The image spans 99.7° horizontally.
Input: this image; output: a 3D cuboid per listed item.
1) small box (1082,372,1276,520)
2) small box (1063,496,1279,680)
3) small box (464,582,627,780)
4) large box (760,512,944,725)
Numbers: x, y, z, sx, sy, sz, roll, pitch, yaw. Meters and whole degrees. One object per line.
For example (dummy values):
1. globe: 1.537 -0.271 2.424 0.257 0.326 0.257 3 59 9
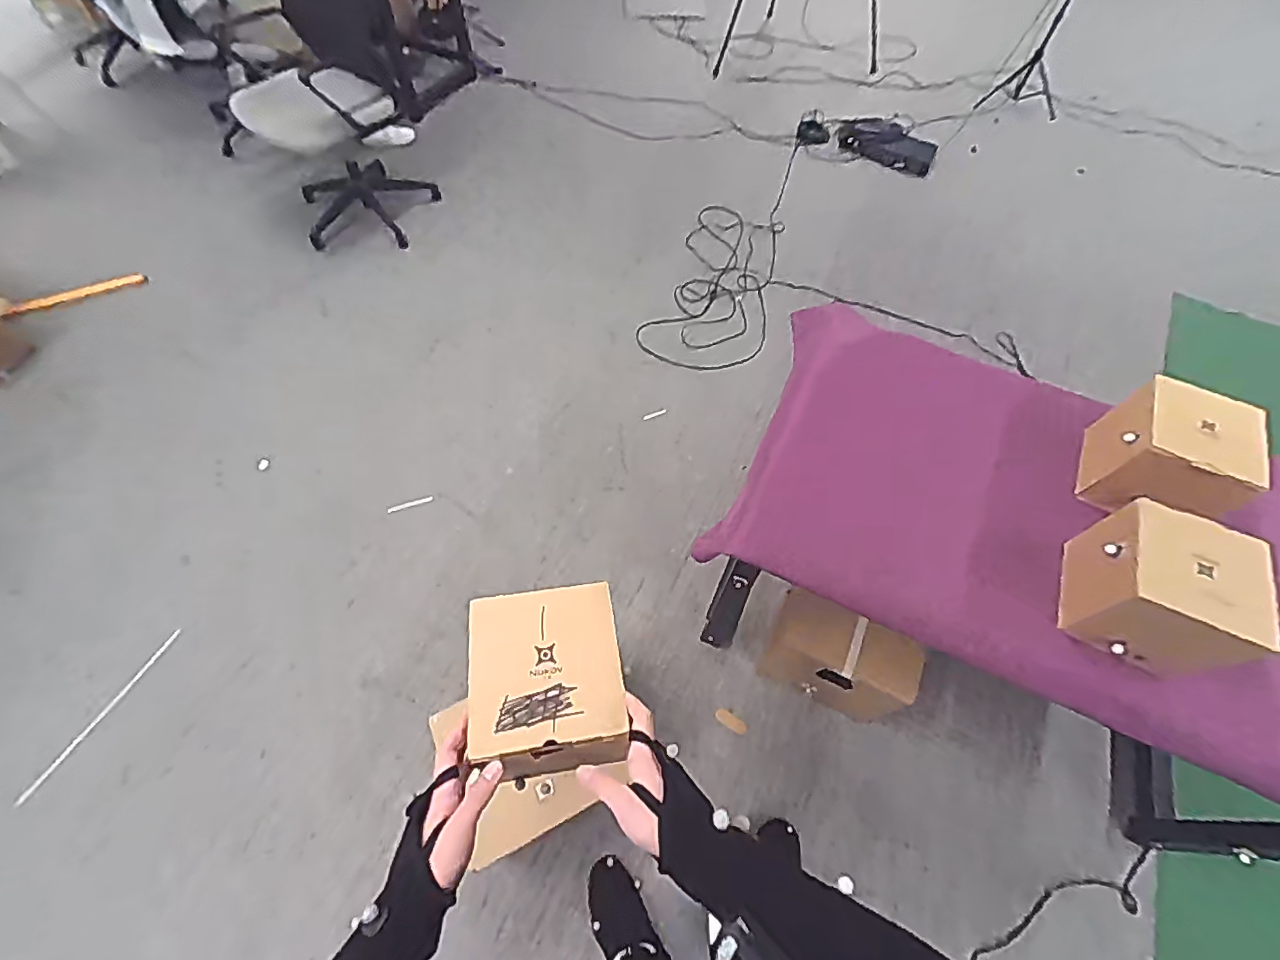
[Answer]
1. small box: 0.897 -0.042 0.915 0.168 0.176 0.179 25 63 13
2. small box: 0.761 0.161 0.788 0.168 0.176 0.179 24 61 14
3. small box: -0.106 0.246 0.646 0.168 0.176 0.179 -7 54 -8
4. large box: 0.549 0.369 1.433 0.320 0.320 0.408 24 60 12
